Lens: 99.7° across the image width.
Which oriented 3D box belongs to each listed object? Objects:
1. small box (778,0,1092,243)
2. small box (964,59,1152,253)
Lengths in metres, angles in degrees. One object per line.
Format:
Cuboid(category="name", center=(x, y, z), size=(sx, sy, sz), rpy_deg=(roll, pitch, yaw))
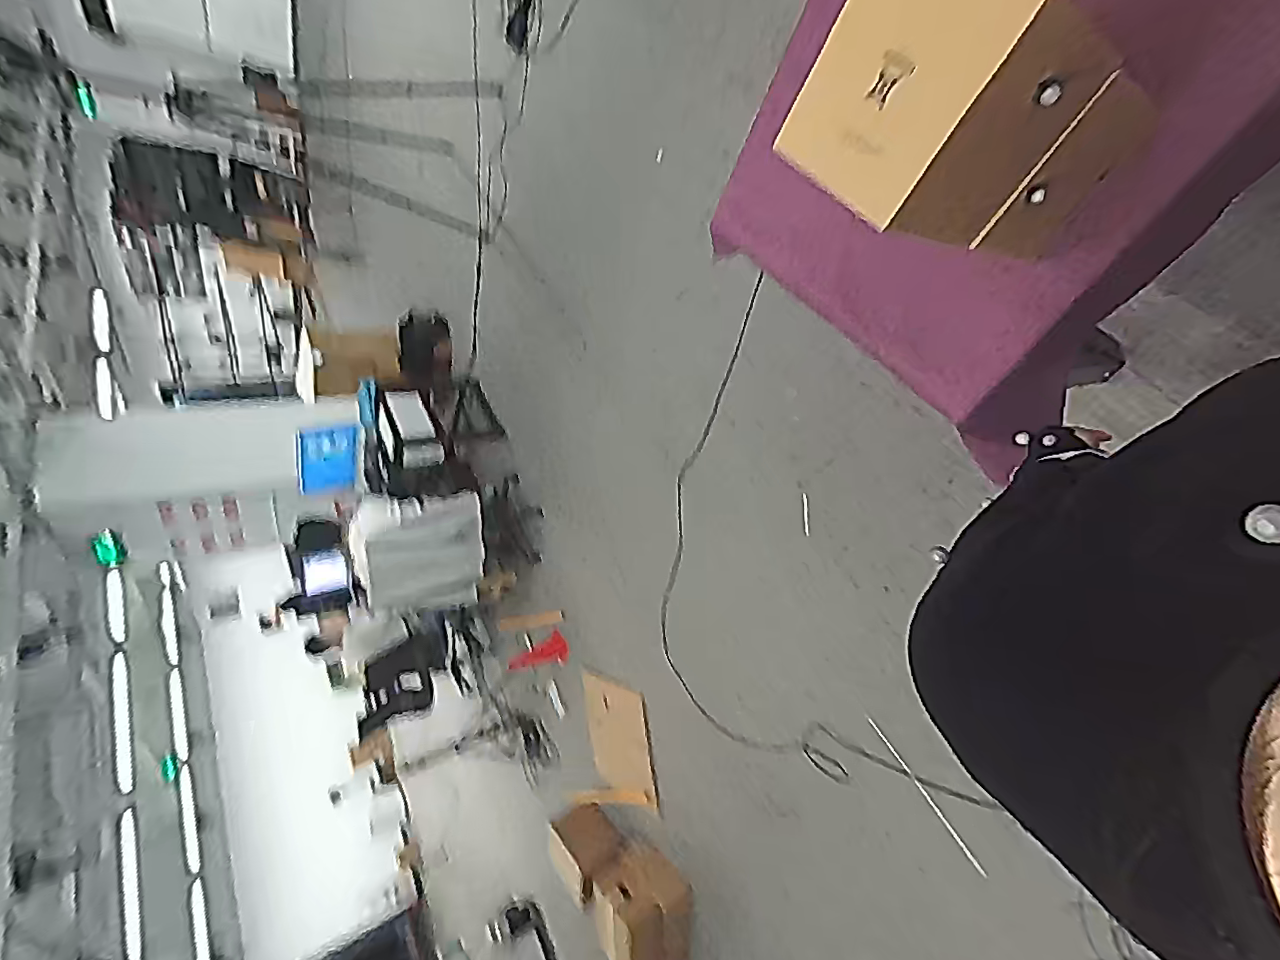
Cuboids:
Cuboid(category="small box", center=(0.274, -0.351, 0.510), size=(0.168, 0.176, 0.179), rpy_deg=(58, 139, 27))
Cuboid(category="small box", center=(0.404, -0.375, 0.606), size=(0.179, 0.176, 0.168), rpy_deg=(57, 139, 28))
